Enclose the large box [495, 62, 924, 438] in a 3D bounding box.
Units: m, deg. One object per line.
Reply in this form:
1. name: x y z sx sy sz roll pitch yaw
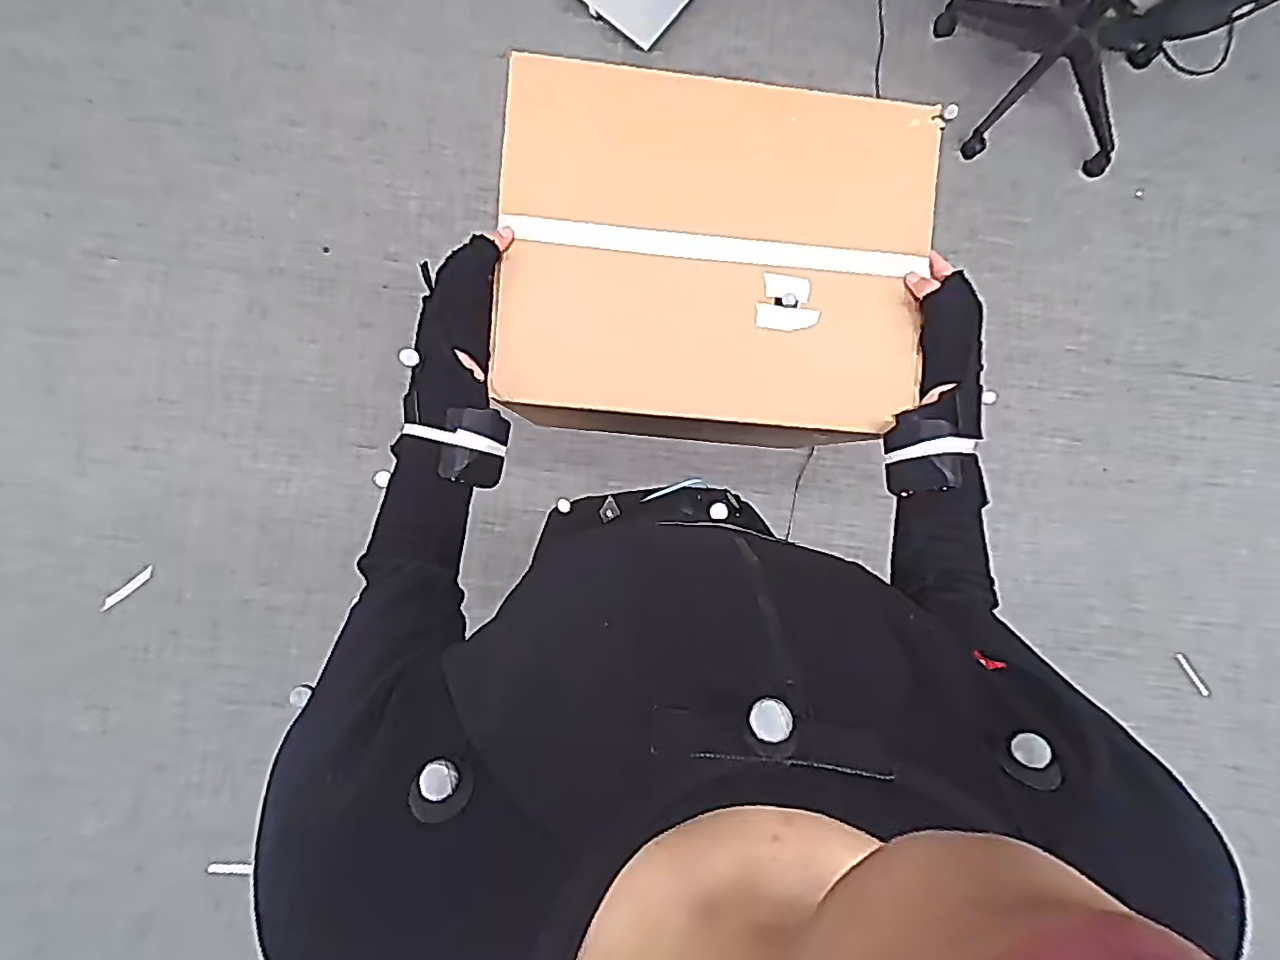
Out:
1. large box: 0.058 -0.225 0.663 0.408 0.320 0.320 5 92 -5
